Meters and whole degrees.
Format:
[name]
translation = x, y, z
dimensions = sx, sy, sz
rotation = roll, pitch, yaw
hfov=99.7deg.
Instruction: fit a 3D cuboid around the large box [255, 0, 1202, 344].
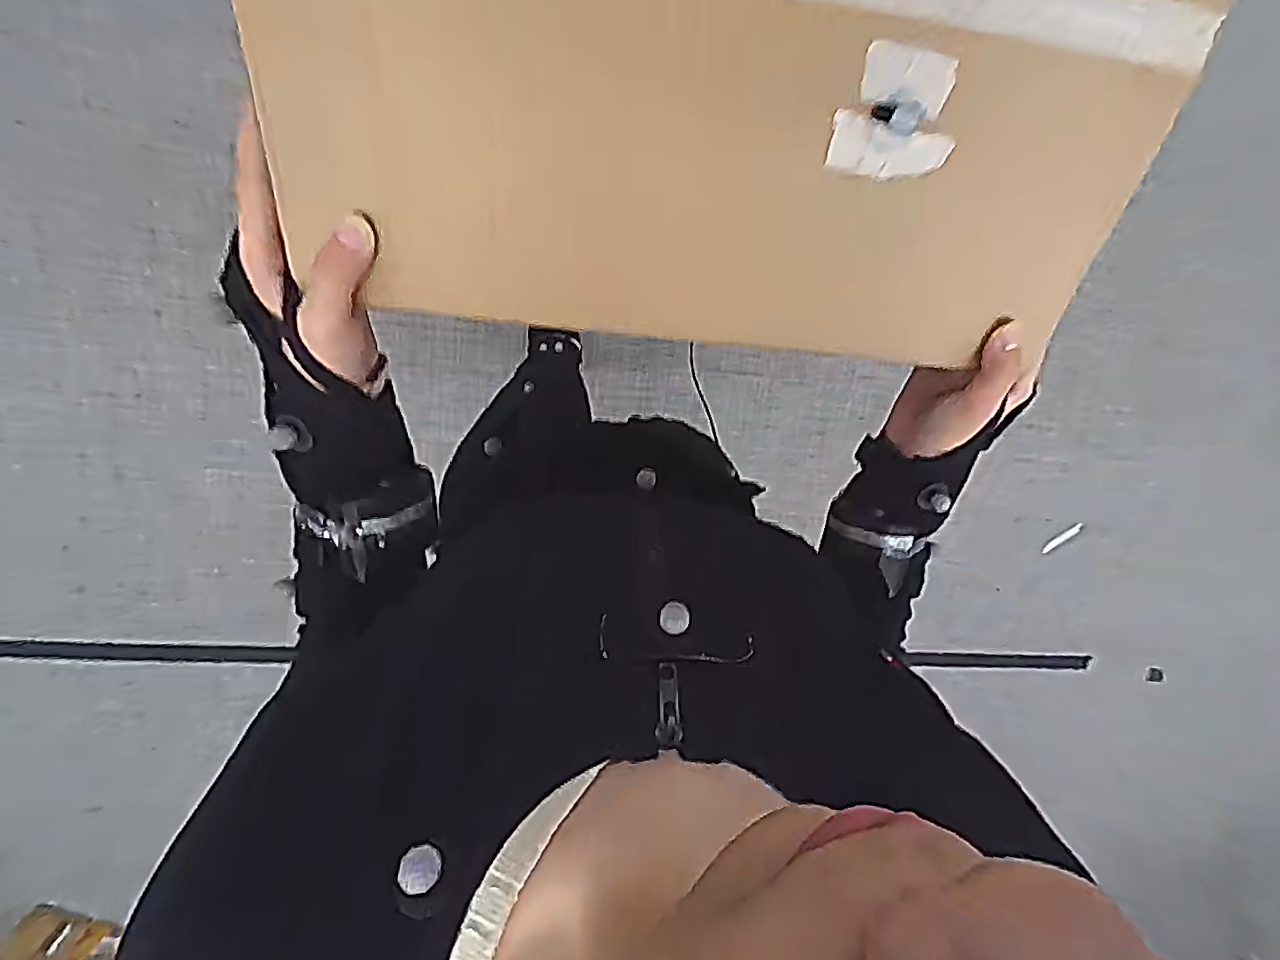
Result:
[large box]
translation = 0.034, -0.295, 0.338
dimensions = 0.408, 0.320, 0.320
rotation = 2, 124, -10
